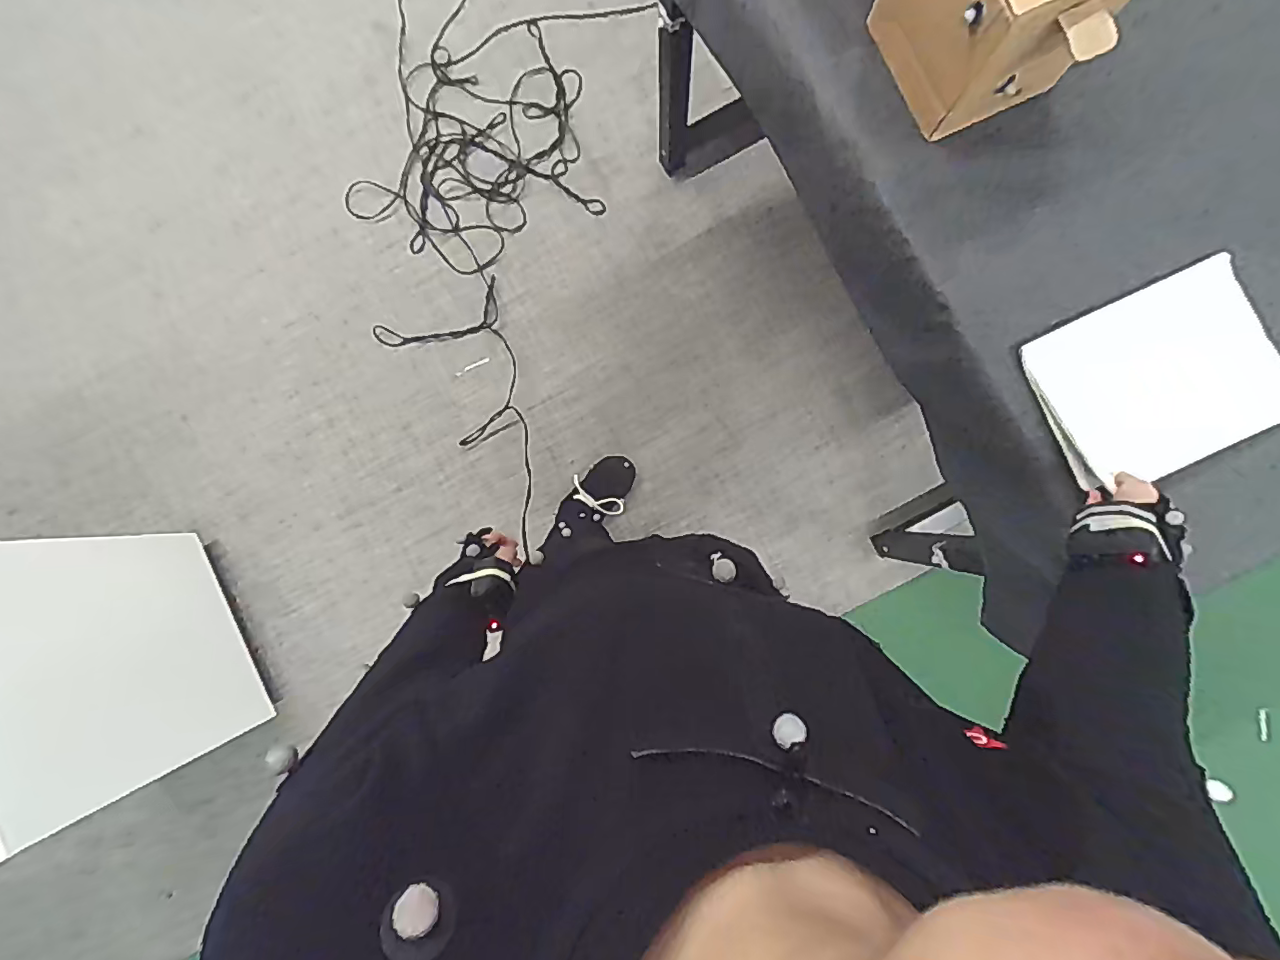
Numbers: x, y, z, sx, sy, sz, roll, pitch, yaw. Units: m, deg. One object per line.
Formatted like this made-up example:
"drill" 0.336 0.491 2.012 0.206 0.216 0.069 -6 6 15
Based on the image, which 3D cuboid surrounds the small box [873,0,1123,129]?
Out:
"small box" 0.381 -0.528 0.572 0.168 0.176 0.179 -25 87 0
